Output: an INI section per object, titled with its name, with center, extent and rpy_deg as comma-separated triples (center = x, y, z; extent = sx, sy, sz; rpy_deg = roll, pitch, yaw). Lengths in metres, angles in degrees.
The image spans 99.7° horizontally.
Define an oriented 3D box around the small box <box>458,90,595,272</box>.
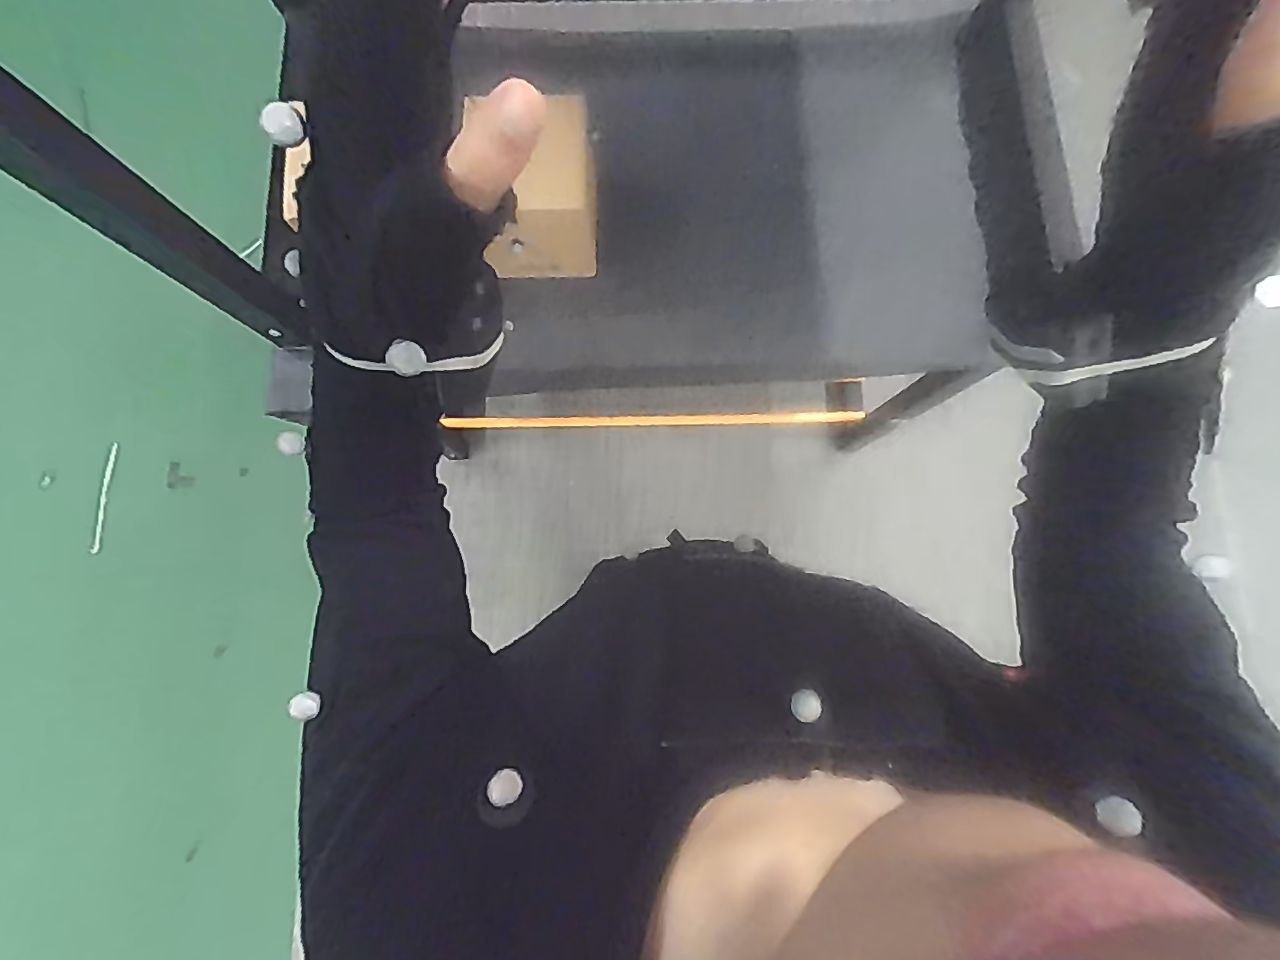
[small box]
center = -0.154, -0.421, 0.786
extent = 0.168, 0.176, 0.179
rpy_deg = -1, 79, 0
